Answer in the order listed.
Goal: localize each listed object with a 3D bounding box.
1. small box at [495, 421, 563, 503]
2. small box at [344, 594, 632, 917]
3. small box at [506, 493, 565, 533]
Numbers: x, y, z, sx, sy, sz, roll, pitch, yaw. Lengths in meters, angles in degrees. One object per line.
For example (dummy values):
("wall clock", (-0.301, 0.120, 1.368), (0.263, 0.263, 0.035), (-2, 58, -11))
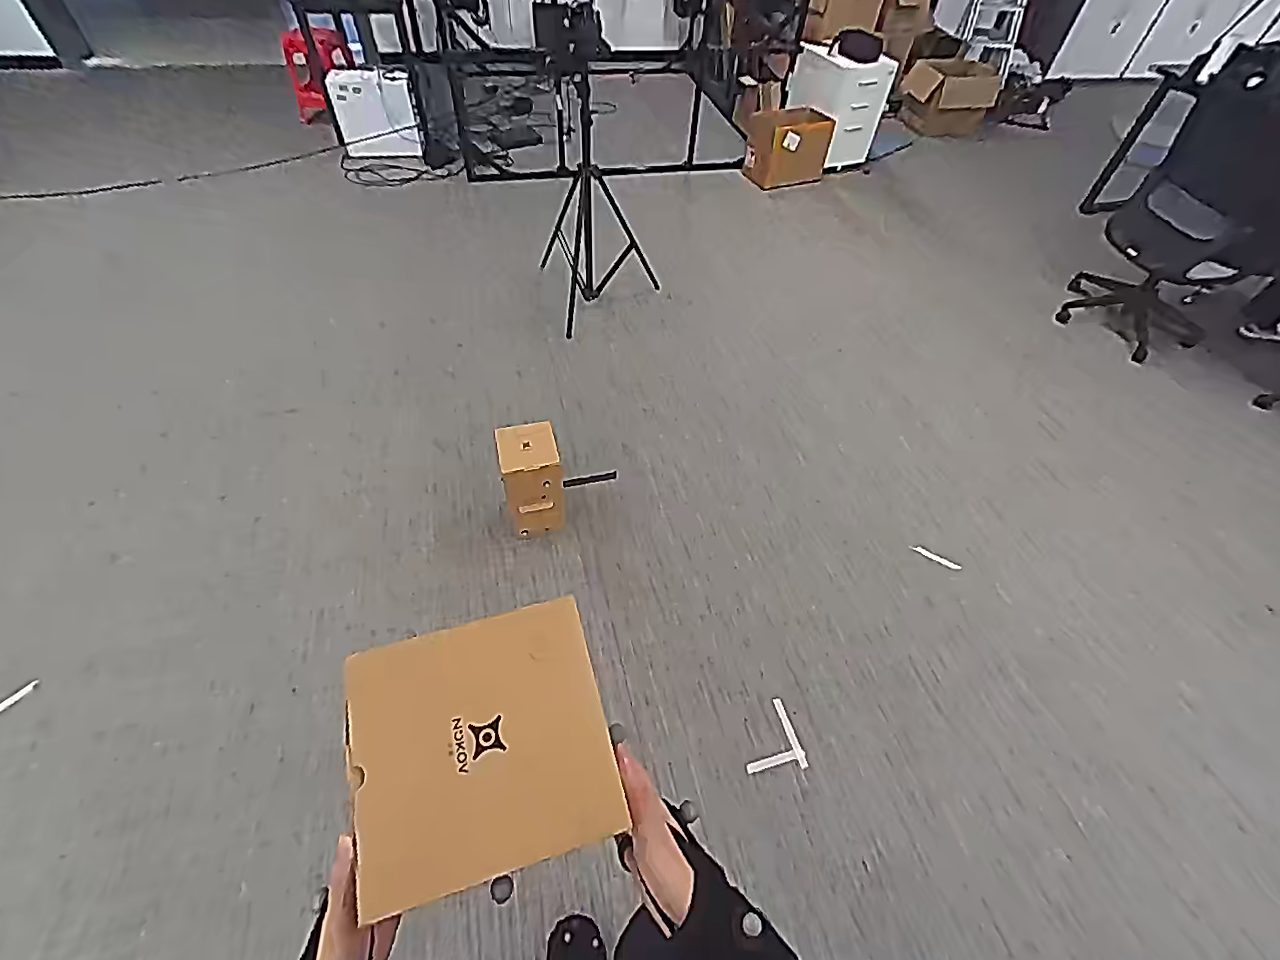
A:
("small box", (-0.328, -0.048, 1.611), (0.168, 0.176, 0.179), (-11, 52, -13))
("small box", (-0.116, 0.213, 0.449), (0.179, 0.176, 0.168), (-14, 65, -10))
("small box", (-0.338, 0.054, 1.737), (0.168, 0.176, 0.179), (-11, 52, -12))
